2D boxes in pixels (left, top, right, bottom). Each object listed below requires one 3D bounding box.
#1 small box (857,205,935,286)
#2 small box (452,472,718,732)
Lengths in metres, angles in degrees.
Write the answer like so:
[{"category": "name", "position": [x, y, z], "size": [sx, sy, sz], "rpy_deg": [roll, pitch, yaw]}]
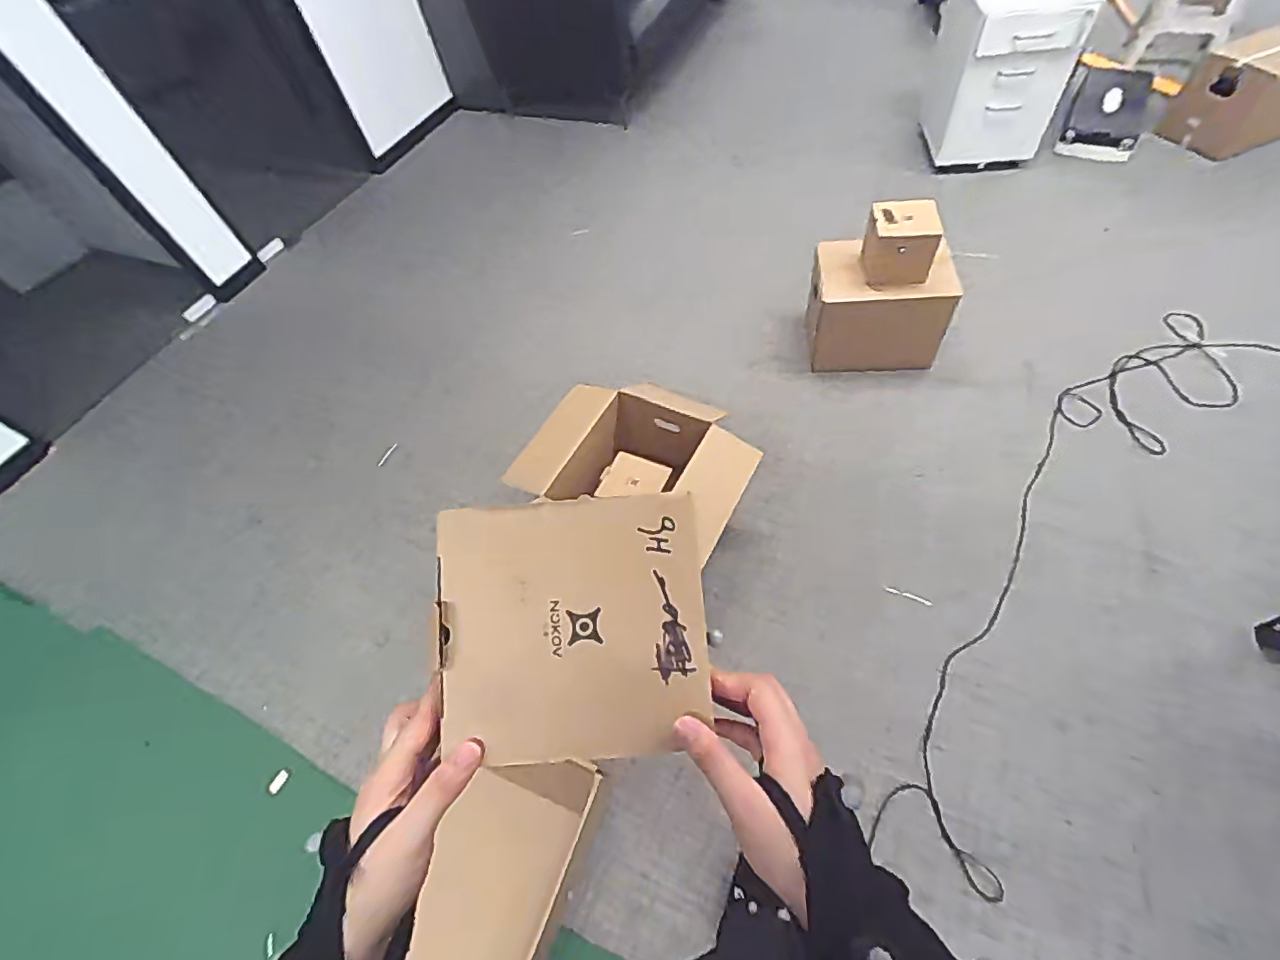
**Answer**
[{"category": "small box", "position": [0.773, -0.712, 1.654], "size": [0.179, 0.176, 0.168], "rpy_deg": [1, 58, 10]}, {"category": "small box", "position": [-0.036, 0.093, 0.442], "size": [0.179, 0.176, 0.168], "rpy_deg": [-5, 81, 1]}]
